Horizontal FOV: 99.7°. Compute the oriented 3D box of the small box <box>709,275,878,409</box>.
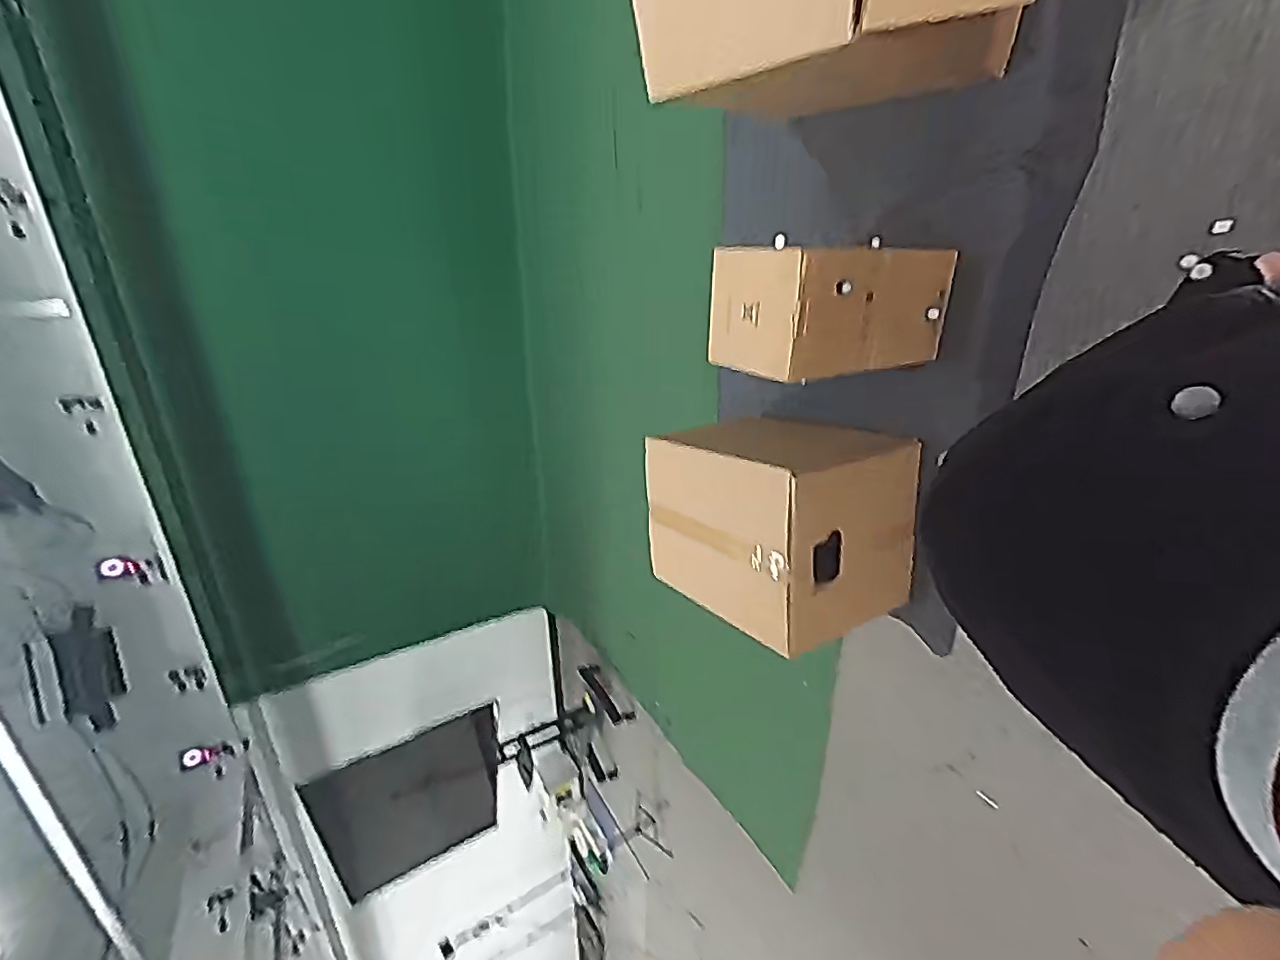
[{"bbox_3d":[0.224,-0.214,0.807,0.179,0.176,0.168,32,128,53],"label":"small box"}]
